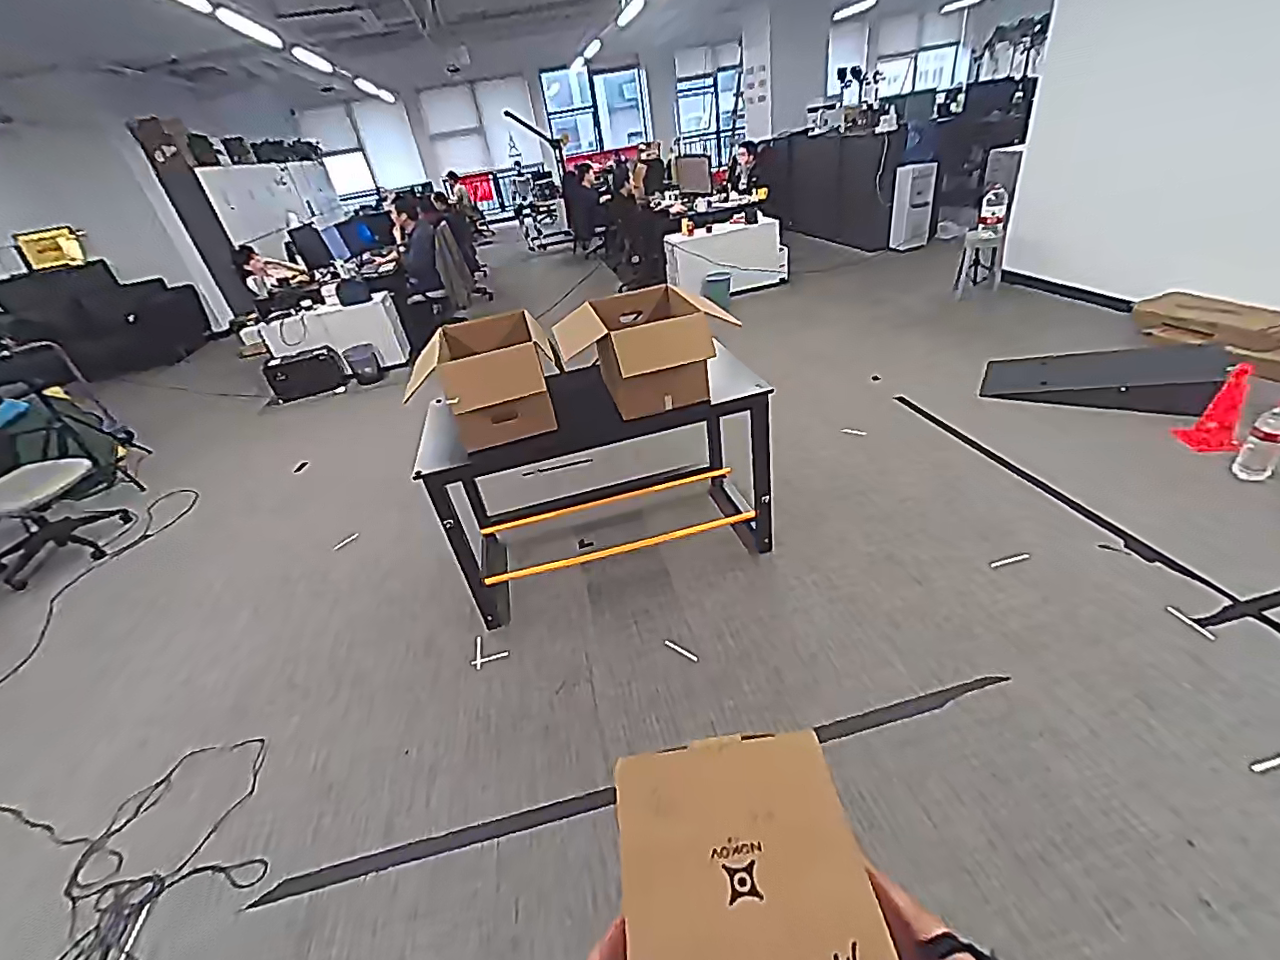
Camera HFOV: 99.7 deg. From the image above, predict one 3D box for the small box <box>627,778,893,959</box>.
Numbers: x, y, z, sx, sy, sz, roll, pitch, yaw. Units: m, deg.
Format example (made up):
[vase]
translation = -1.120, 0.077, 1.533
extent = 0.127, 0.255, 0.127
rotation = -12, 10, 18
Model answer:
[small box]
translation = 0.083, 0.360, 0.405
extent = 0.168, 0.176, 0.179
rotation = -8, 38, -1
